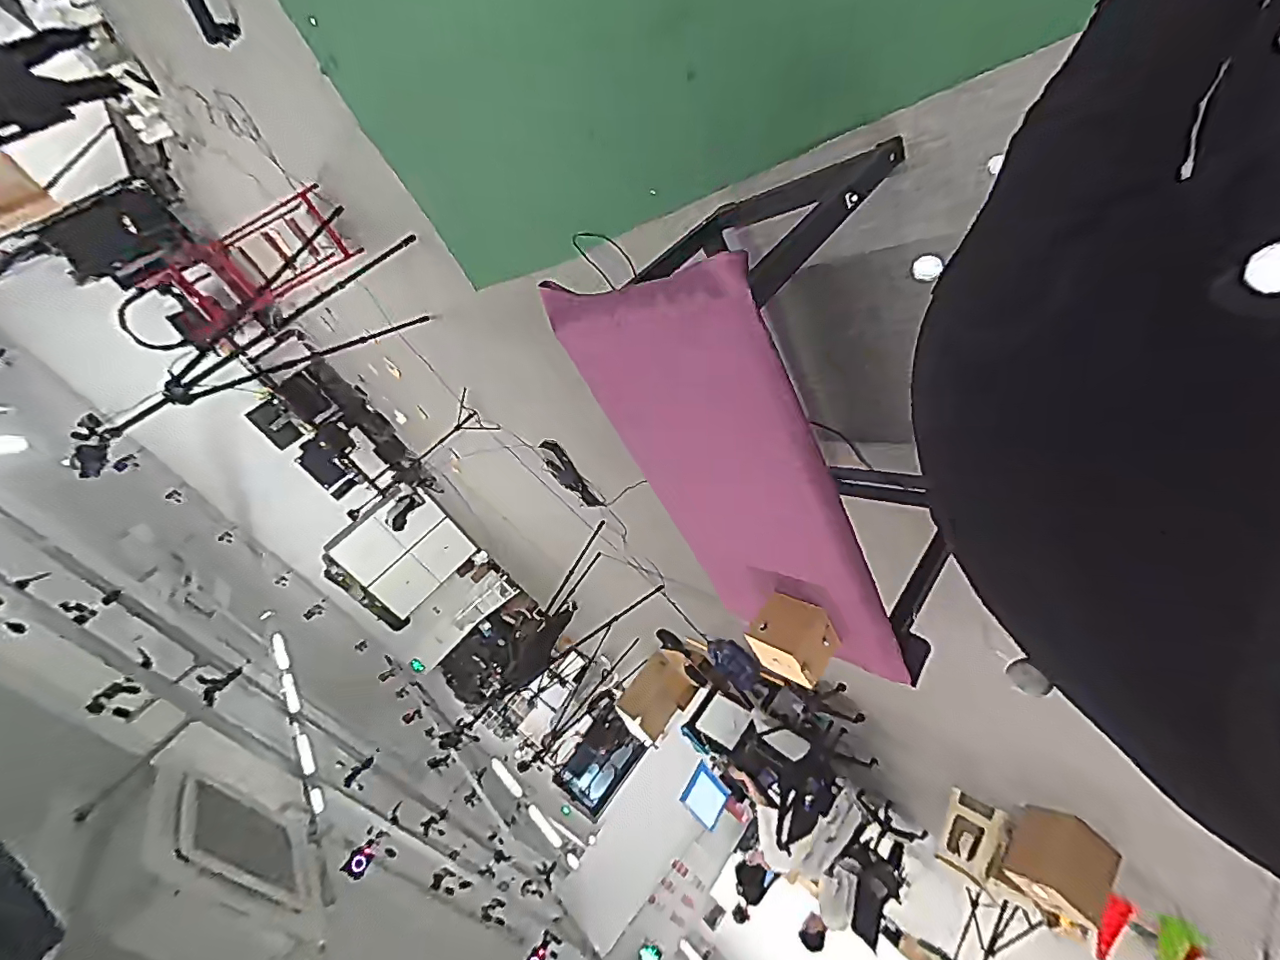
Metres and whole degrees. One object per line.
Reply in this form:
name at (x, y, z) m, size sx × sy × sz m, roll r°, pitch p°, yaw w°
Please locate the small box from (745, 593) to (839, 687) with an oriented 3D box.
small box at (0.442, 0.454, 1.567) m, size 0.179 × 0.176 × 0.168 m, roll 11°, pitch 141°, yaw 50°
